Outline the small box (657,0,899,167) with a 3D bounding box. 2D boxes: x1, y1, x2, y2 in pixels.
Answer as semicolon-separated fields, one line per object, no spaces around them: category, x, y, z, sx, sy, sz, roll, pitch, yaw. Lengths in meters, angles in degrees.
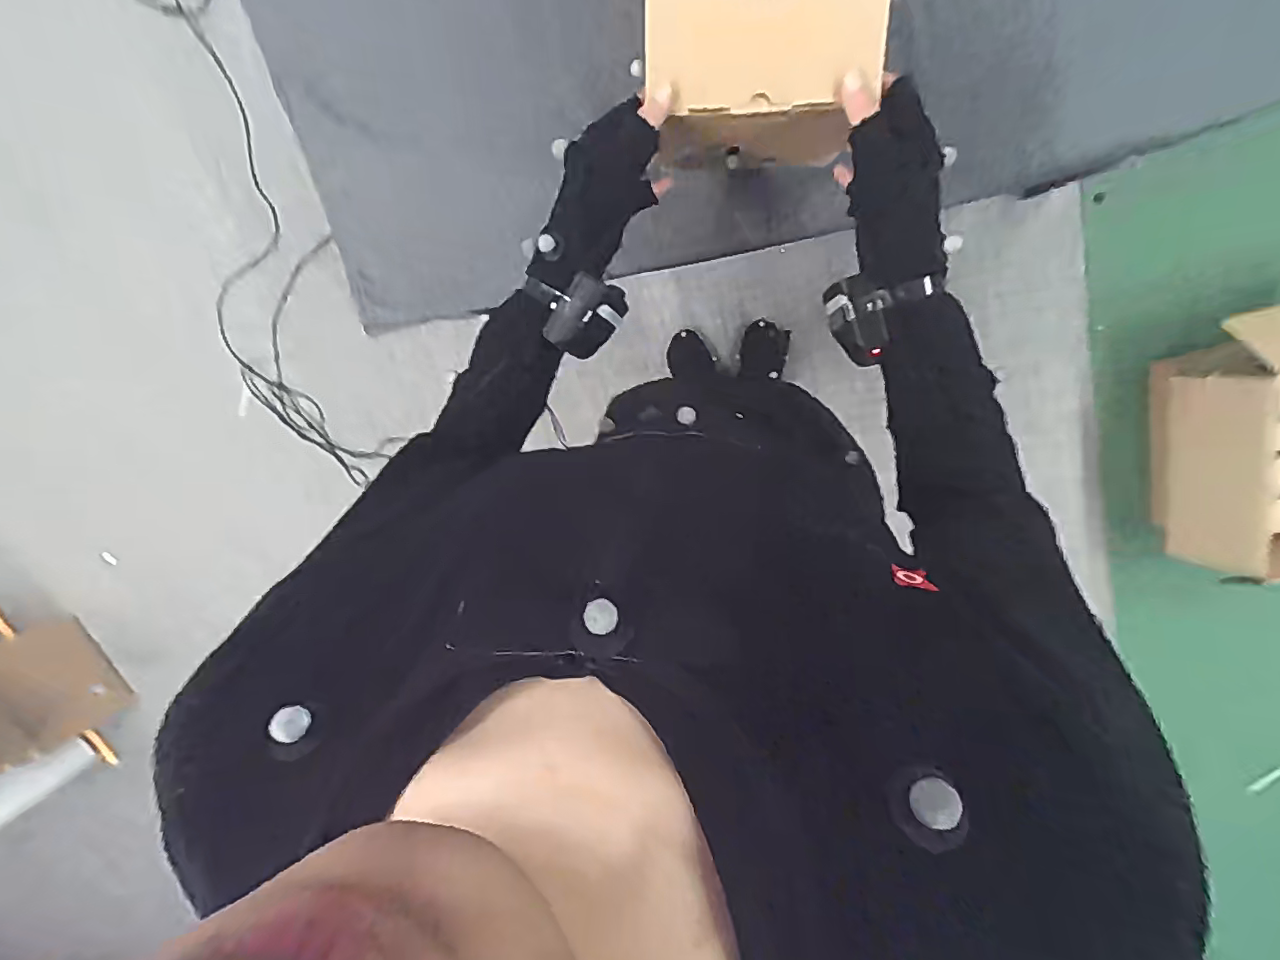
small box;0.101;-0.373;0.438;0.168;0.176;0.179;2;109;7
